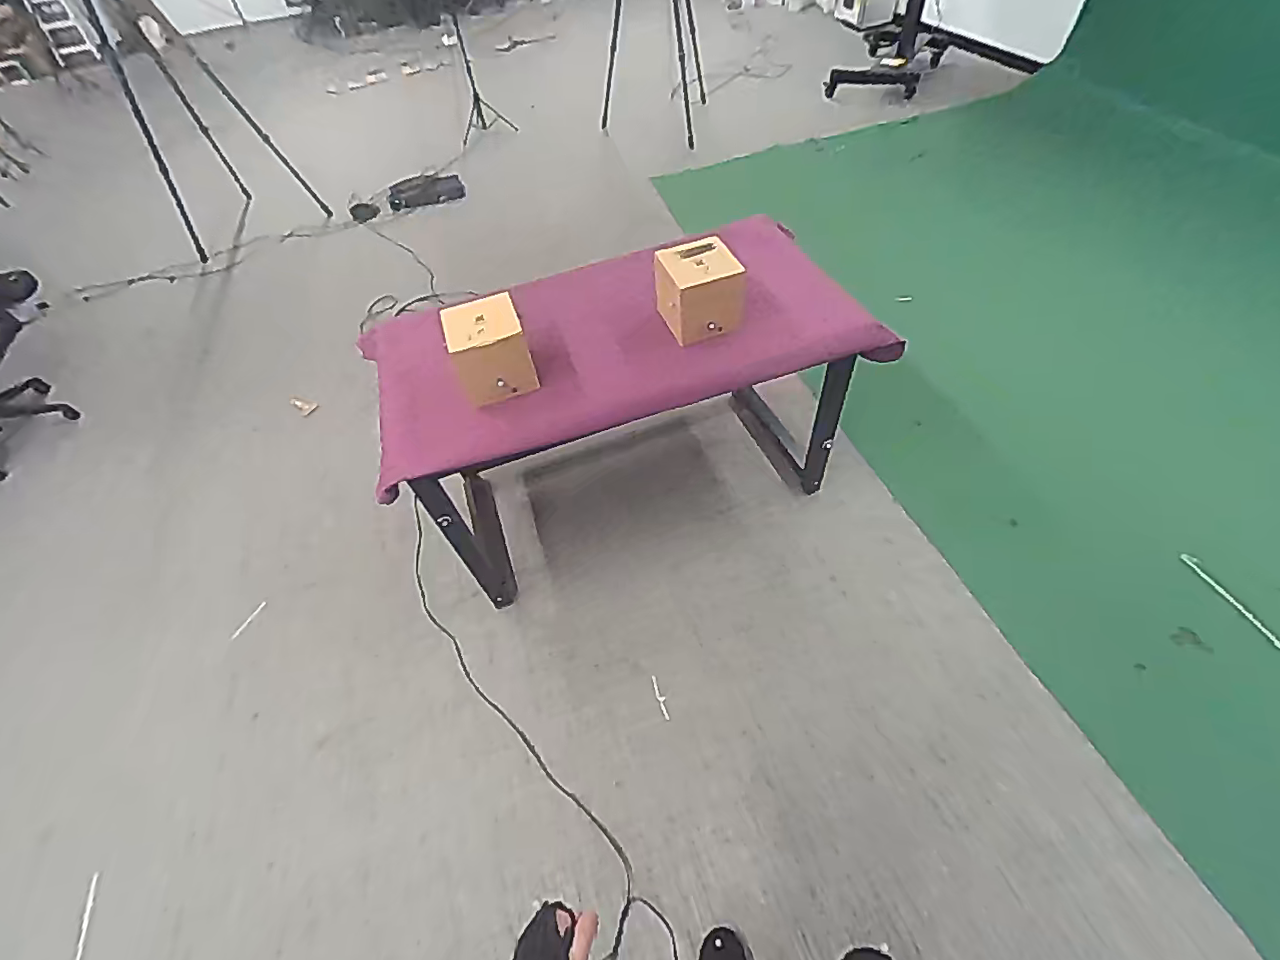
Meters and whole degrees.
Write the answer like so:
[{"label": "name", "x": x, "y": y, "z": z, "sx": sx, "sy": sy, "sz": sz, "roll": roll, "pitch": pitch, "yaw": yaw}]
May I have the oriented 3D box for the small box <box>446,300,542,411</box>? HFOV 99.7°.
[{"label": "small box", "x": -0.347, "y": -0.296, "z": 1.292, "sx": 0.168, "sy": 0.176, "sz": 0.179, "roll": -19, "pitch": 52, "yaw": -7}]
